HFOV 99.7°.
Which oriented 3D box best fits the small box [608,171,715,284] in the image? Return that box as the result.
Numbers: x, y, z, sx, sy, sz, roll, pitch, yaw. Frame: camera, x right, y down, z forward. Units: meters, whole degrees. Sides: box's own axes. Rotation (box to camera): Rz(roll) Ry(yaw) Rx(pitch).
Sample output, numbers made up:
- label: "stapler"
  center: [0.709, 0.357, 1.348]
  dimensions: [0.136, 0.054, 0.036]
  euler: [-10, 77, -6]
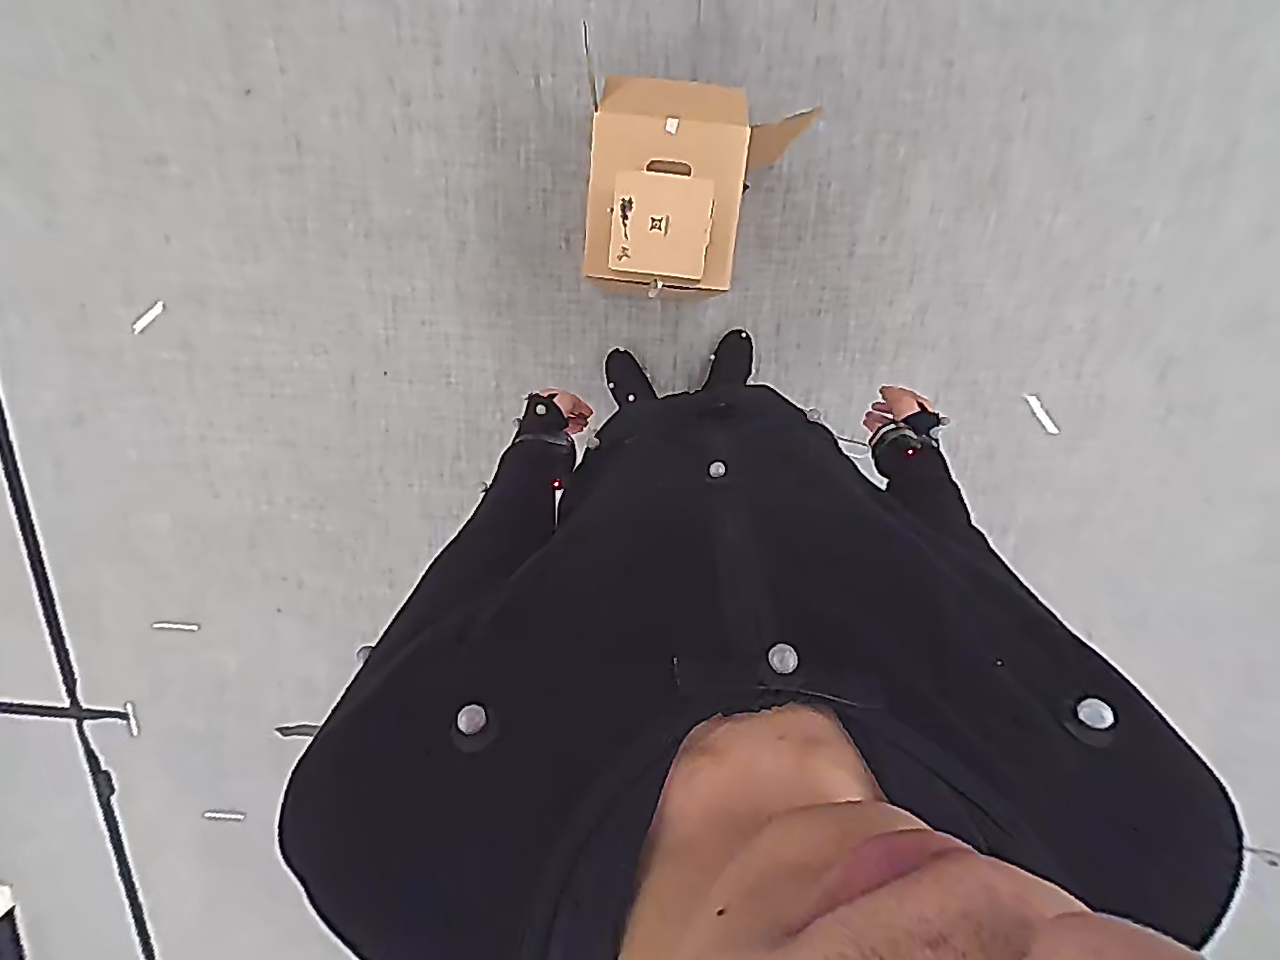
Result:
- label: "small box"
  center: [0.036, -0.475, 1.042]
  dimensions: [0.179, 0.176, 0.168]
  euler: [7, 107, -2]
